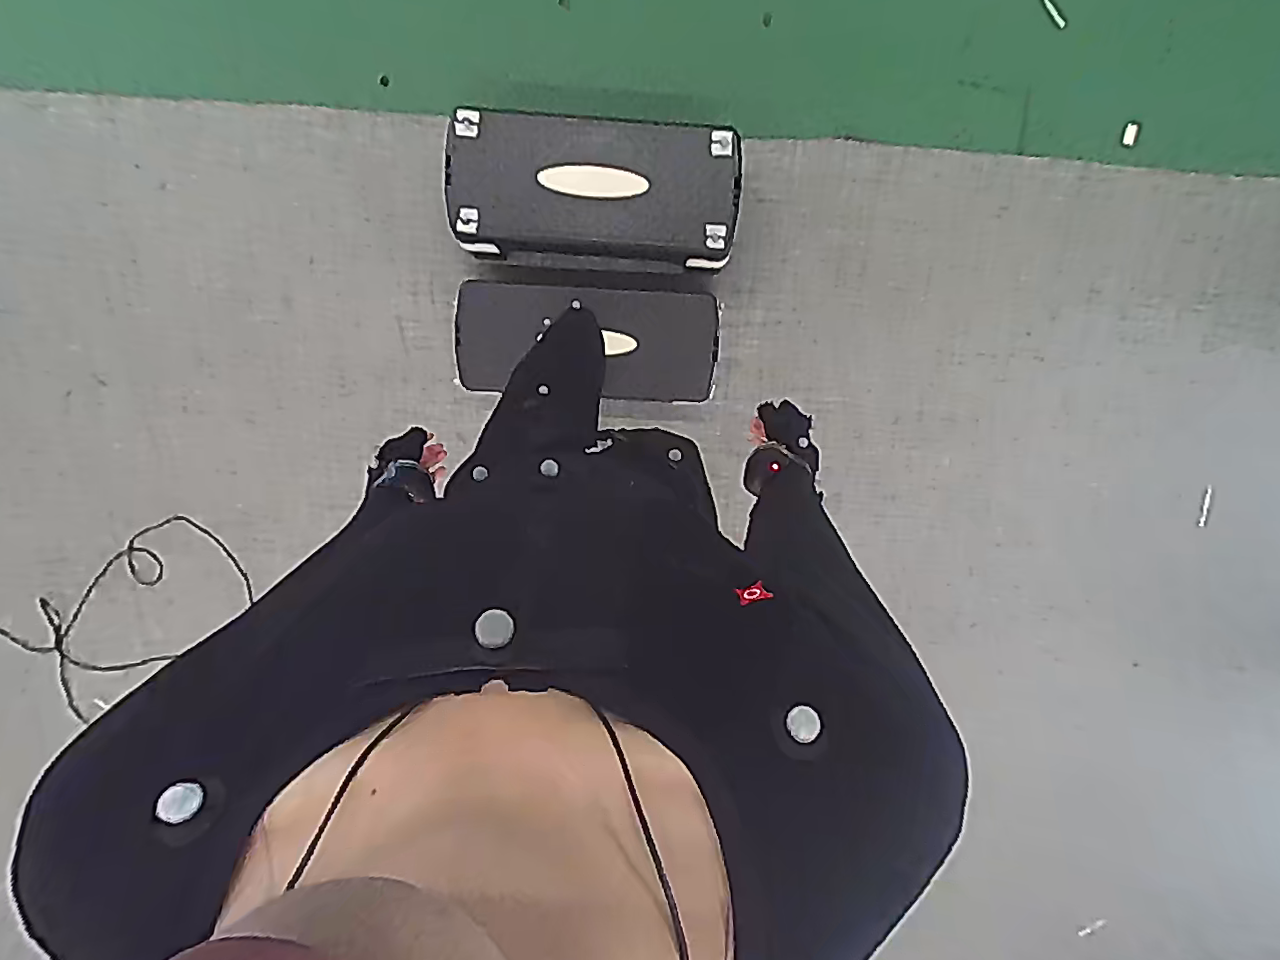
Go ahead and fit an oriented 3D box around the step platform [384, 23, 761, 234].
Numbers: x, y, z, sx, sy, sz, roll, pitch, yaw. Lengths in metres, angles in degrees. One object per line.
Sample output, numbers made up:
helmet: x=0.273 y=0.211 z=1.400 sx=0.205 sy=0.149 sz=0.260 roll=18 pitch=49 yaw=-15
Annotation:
step platform: x=-0.123 y=-0.669 z=1.073 sx=0.684 sy=0.204 sz=0.286 roll=3 pitch=100 yaw=-1
